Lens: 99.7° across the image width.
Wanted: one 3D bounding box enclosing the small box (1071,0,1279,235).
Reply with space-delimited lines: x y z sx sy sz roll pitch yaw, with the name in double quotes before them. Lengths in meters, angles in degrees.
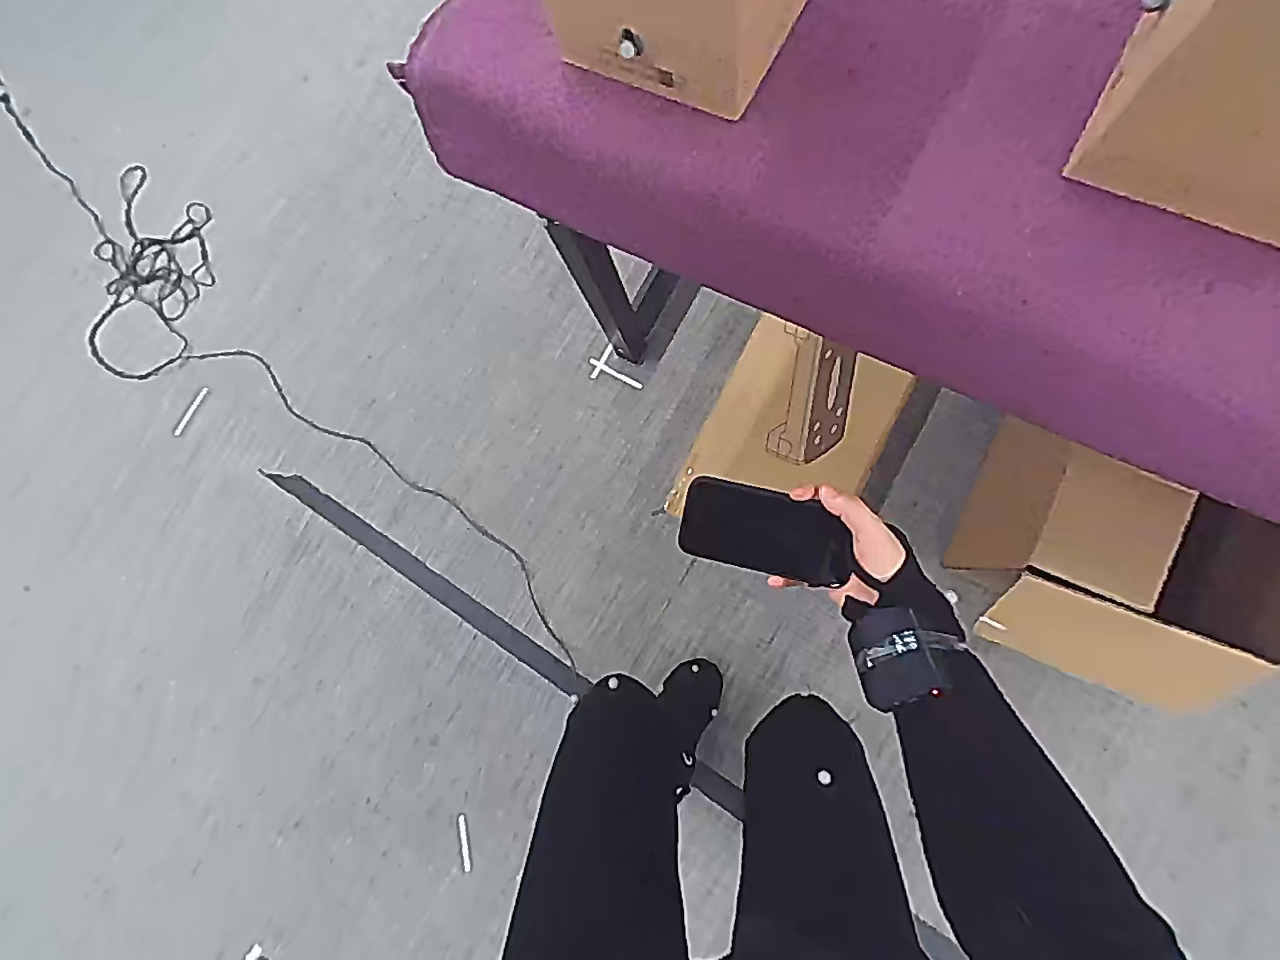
"small box" 0.390 -0.257 0.279 0.179 0.176 0.168 28 84 12
